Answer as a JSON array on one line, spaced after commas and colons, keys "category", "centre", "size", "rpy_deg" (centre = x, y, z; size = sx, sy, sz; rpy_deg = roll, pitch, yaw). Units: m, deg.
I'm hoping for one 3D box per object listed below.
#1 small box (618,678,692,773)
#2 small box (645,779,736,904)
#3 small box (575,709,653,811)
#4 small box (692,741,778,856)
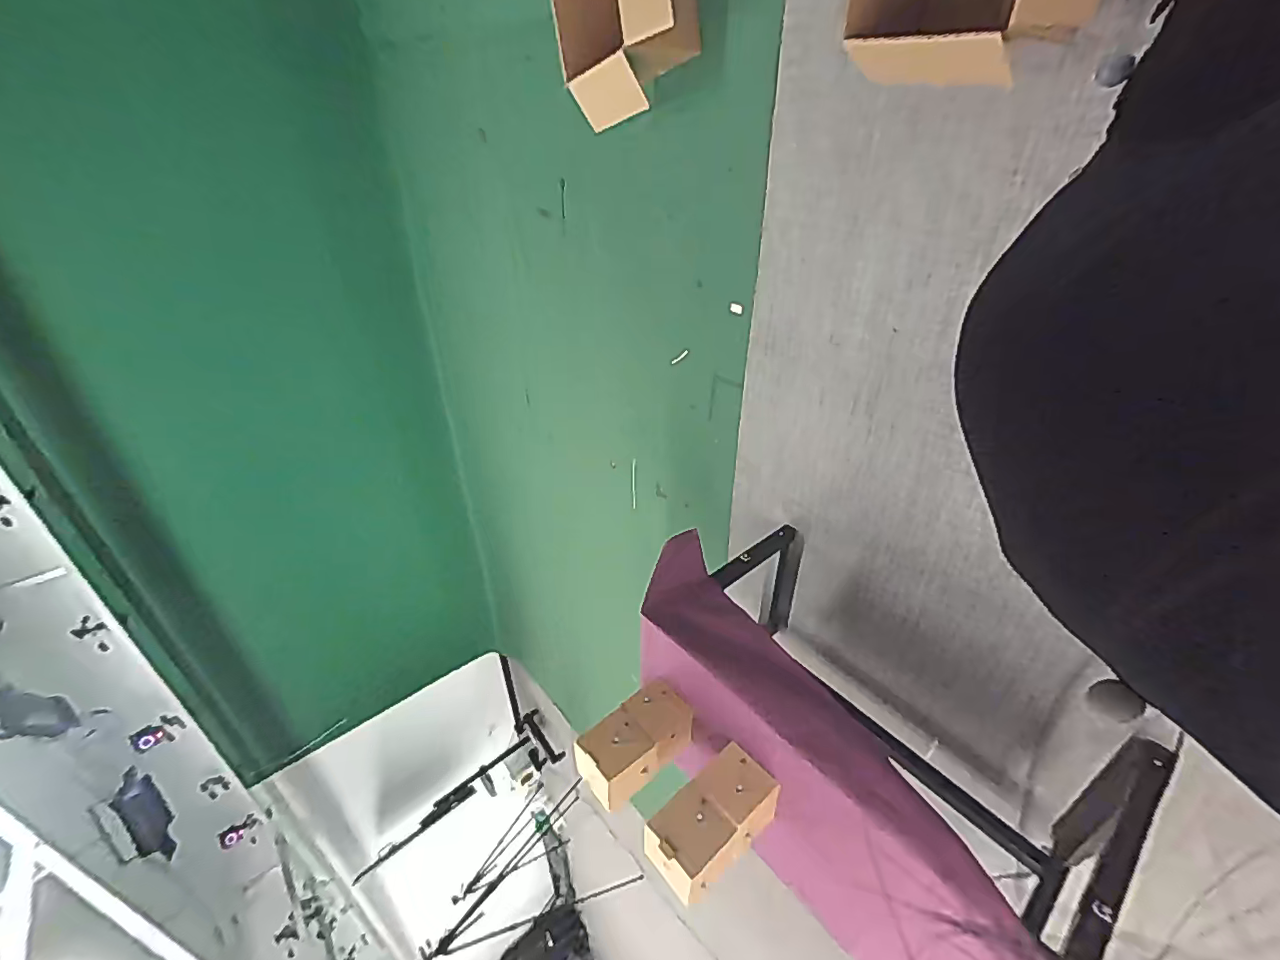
[{"category": "small box", "centre": [0.046, 0.759, 1.692], "size": [0.168, 0.176, 0.179], "rpy_deg": [34, 136, 39]}, {"category": "small box", "centre": [0.129, 0.920, 1.384], "size": [0.168, 0.176, 0.179], "rpy_deg": [33, 136, 38]}, {"category": "small box", "centre": [-0.074, 0.819, 1.598], "size": [0.168, 0.176, 0.179], "rpy_deg": [34, 135, 39]}, {"category": "small box", "centre": [0.255, 0.856, 1.469], "size": [0.168, 0.176, 0.179], "rpy_deg": [30, 134, 41]}]
